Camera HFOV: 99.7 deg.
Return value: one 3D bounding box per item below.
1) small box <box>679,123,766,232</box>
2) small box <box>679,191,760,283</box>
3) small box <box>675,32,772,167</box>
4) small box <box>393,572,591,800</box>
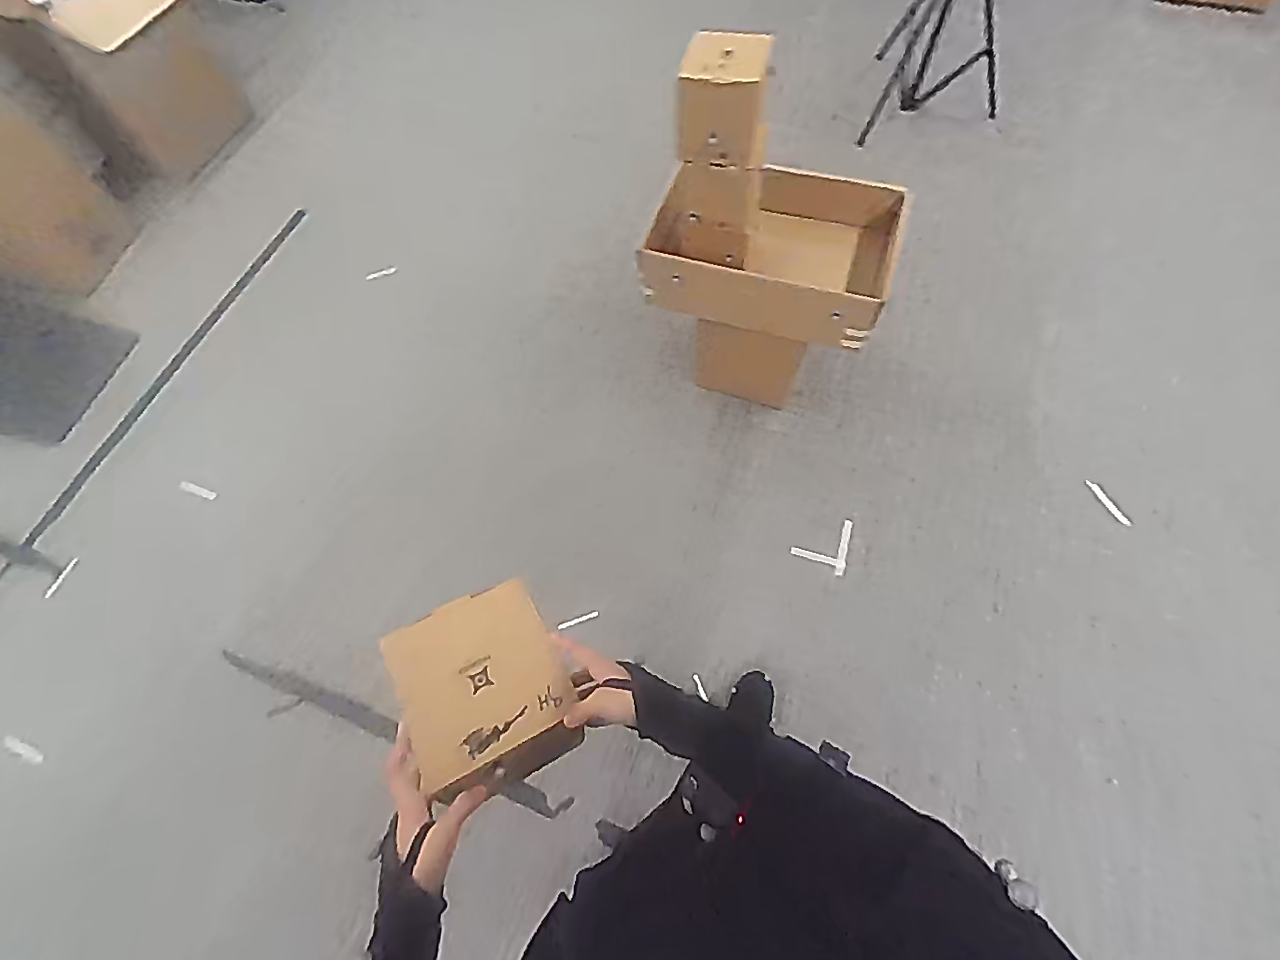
[{"bbox_3d":[0.195,-0.721,1.287,0.168,0.176,0.179,13,66,11],"label":"small box"},{"bbox_3d":[0.209,-0.647,1.432,0.179,0.176,0.168,12,67,11],"label":"small box"},{"bbox_3d":[0.172,-0.801,1.143,0.168,0.176,0.179,12,65,10],"label":"small box"},{"bbox_3d":[-0.168,0.246,0.641,0.168,0.176,0.179,-22,59,-20],"label":"small box"}]
